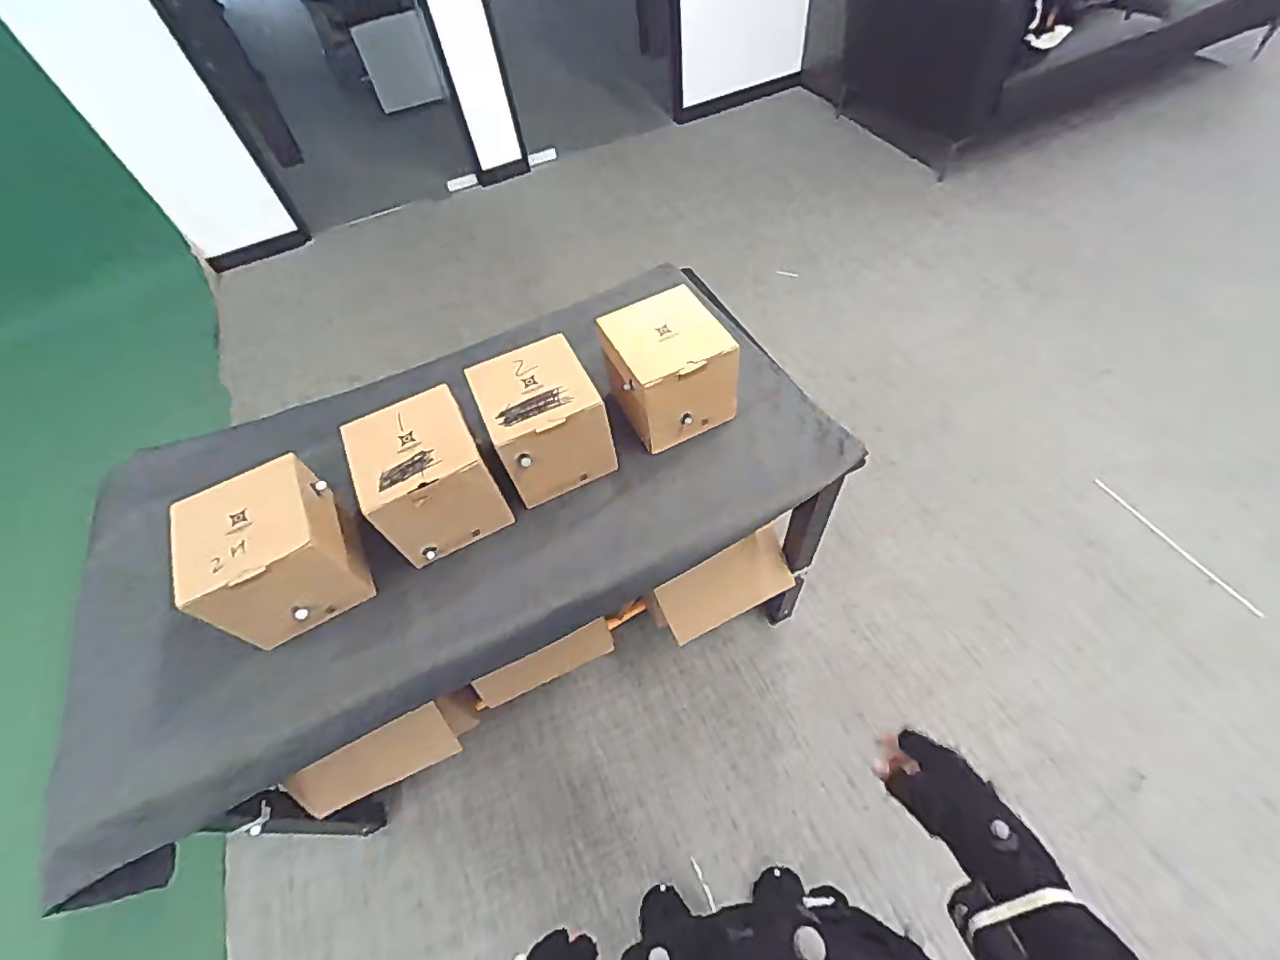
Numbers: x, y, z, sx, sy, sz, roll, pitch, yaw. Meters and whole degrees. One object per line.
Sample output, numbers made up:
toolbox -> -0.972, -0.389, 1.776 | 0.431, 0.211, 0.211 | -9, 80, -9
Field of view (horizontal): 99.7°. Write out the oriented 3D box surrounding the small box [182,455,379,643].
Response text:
small box -> -0.509, 0.103, 0.779 | 0.168, 0.176, 0.179 | -28, 58, -12

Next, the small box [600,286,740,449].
small box -> 0.049, -0.185, 0.908 | 0.168, 0.176, 0.179 | -25, 57, -10
